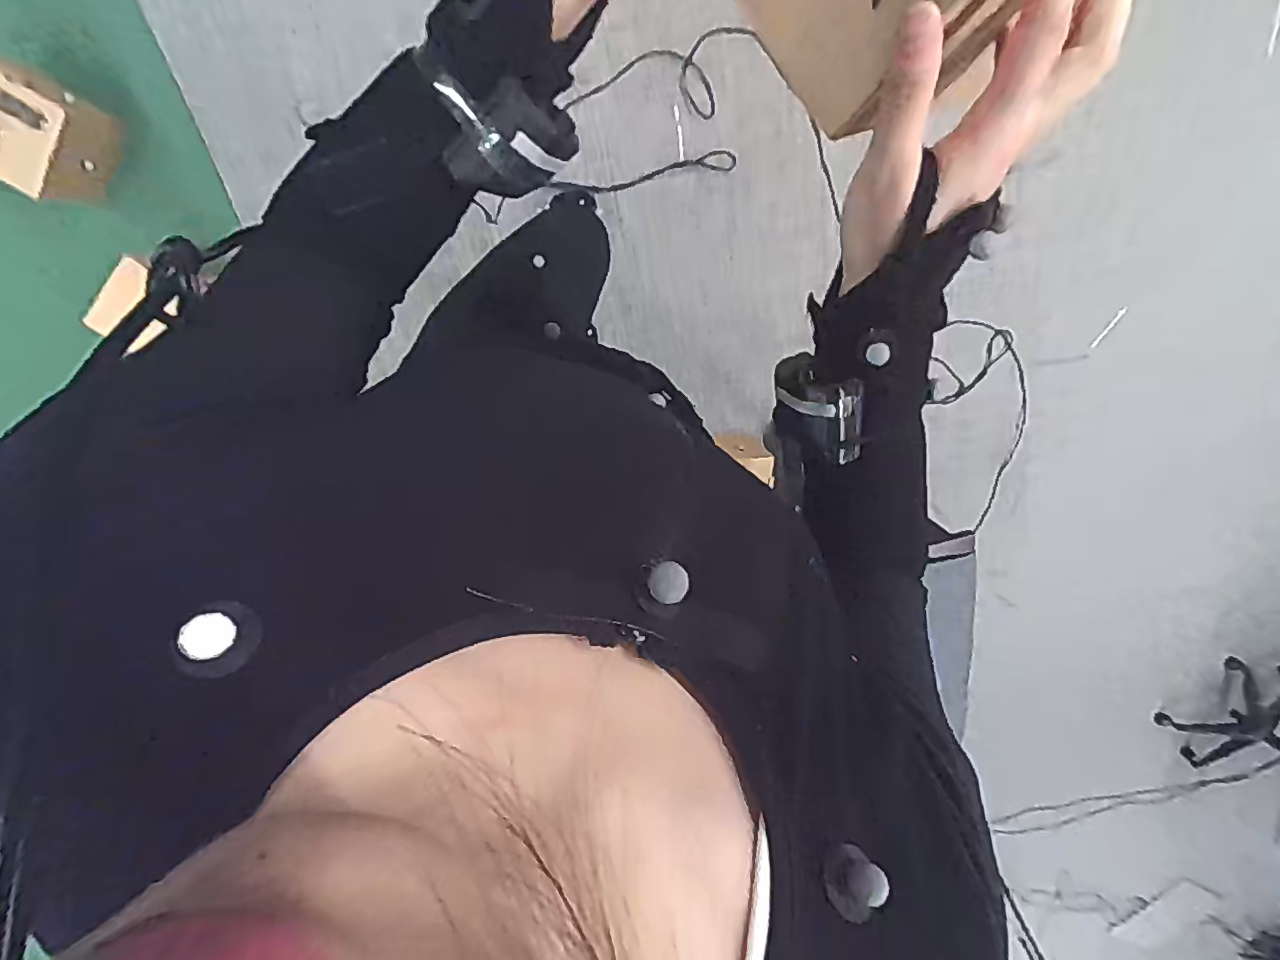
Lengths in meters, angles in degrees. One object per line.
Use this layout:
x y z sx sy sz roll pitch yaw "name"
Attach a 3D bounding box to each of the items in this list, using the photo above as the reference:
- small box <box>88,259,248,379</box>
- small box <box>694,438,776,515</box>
-0.995 -0.349 1.158 0.168 0.176 0.179 39 102 -22 "small box"
0.261 -0.015 1.521 0.179 0.176 0.168 -3 114 -9 "small box"
